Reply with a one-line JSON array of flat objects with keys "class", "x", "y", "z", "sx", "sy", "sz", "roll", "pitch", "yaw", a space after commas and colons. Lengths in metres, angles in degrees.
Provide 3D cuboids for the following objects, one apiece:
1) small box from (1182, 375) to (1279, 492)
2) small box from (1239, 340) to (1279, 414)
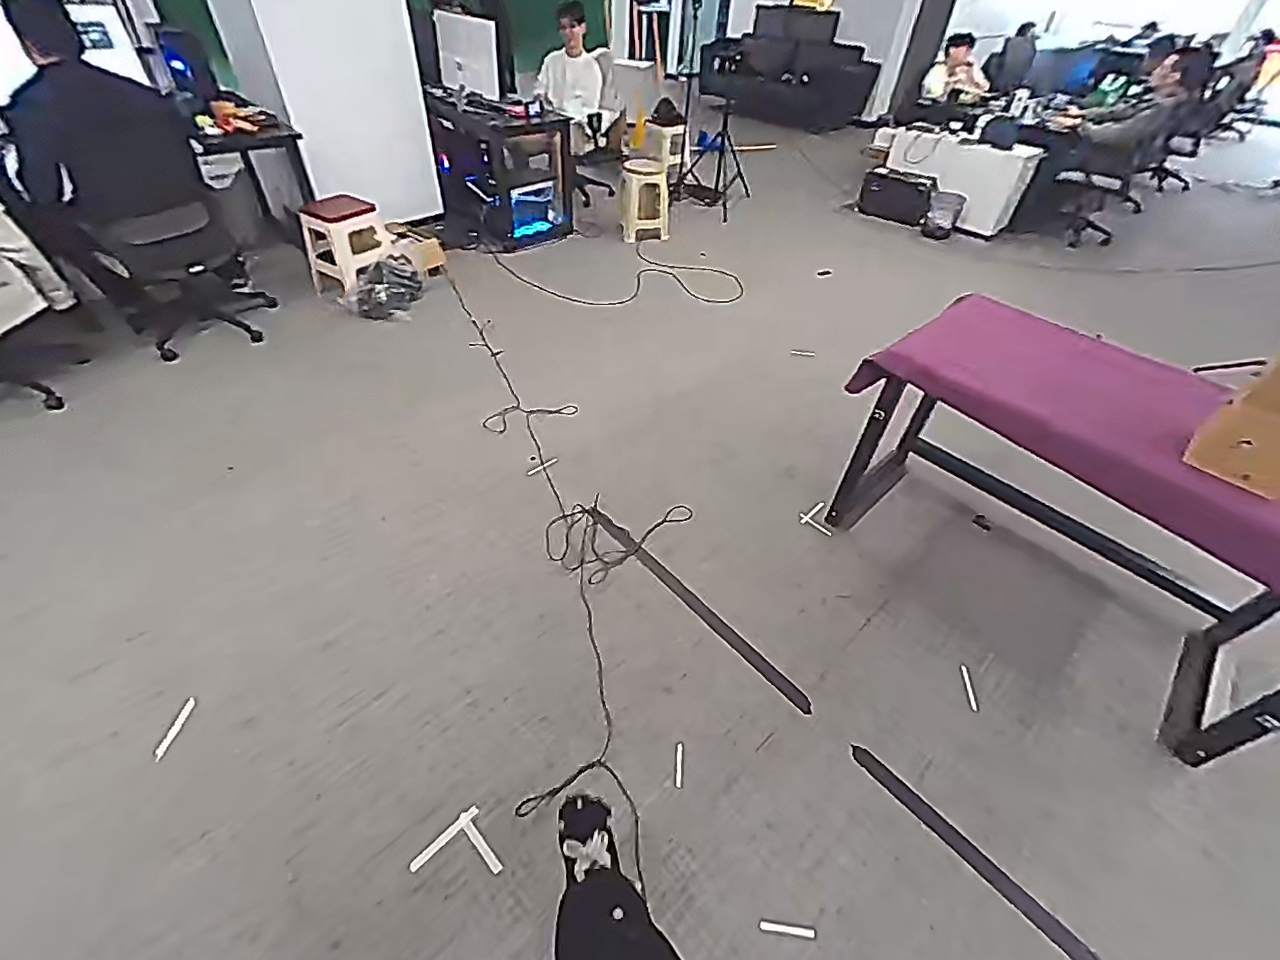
[{"class": "small box", "x": 1.373, "y": -0.102, "z": 1.205, "sx": 0.179, "sy": 0.176, "sz": 0.168, "roll": -31, "pitch": 54, "yaw": -32}, {"class": "small box", "x": 1.385, "y": -0.222, "z": 1.094, "sx": 0.179, "sy": 0.176, "sz": 0.168, "roll": -31, "pitch": 53, "yaw": -31}]
